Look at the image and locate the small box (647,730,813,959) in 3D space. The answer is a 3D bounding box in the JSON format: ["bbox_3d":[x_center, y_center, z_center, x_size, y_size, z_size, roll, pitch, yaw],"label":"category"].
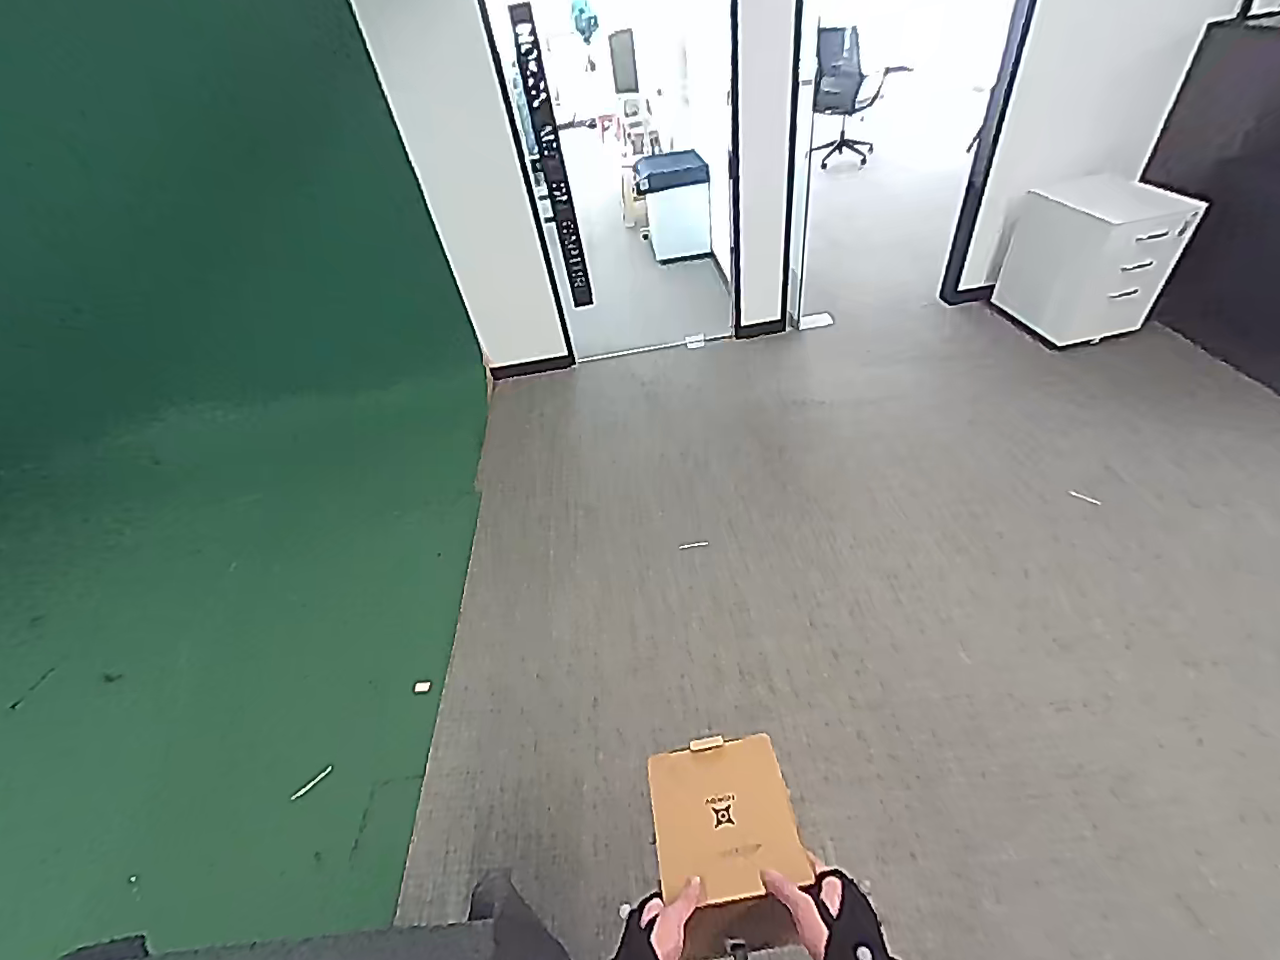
[{"bbox_3d":[0.106,0.449,0.672,0.168,0.176,0.179,-11,32,3],"label":"small box"}]
